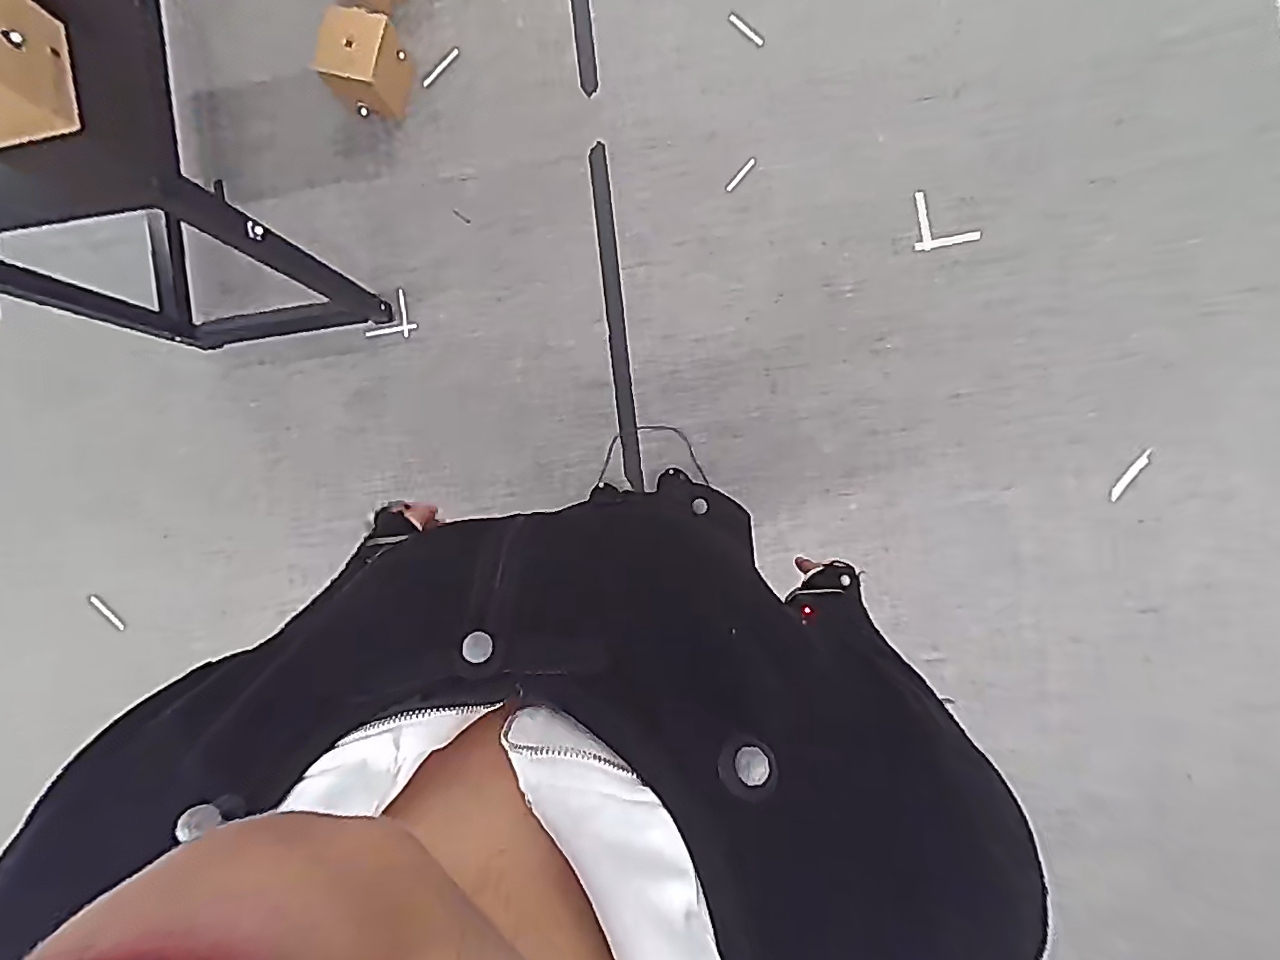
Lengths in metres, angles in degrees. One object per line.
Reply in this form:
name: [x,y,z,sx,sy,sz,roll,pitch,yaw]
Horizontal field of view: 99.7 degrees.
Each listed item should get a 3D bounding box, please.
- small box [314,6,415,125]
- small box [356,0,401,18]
small box: [-0.736,-1.113,1.463,0.168,0.176,0.179,14,92,4]
small box: [-0.751,-1.416,1.458,0.179,0.176,0.168,36,93,2]
